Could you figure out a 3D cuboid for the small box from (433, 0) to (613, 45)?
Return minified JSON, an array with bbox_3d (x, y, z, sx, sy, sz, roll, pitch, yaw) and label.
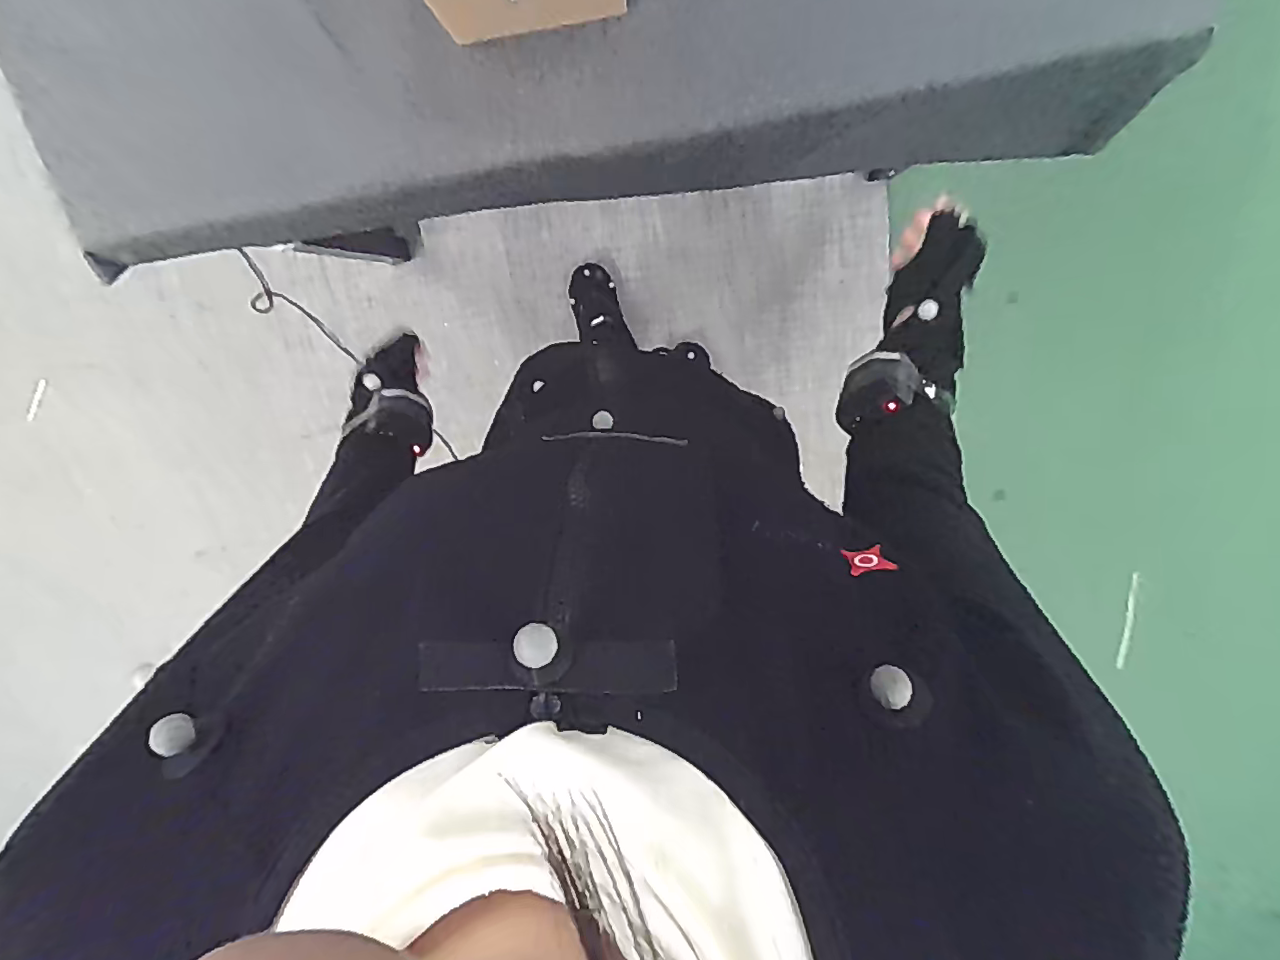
[{"bbox_3d":[-0.111,-0.507,0.447,0.179,0.176,0.168,-11,107,4],"label":"small box"}]
